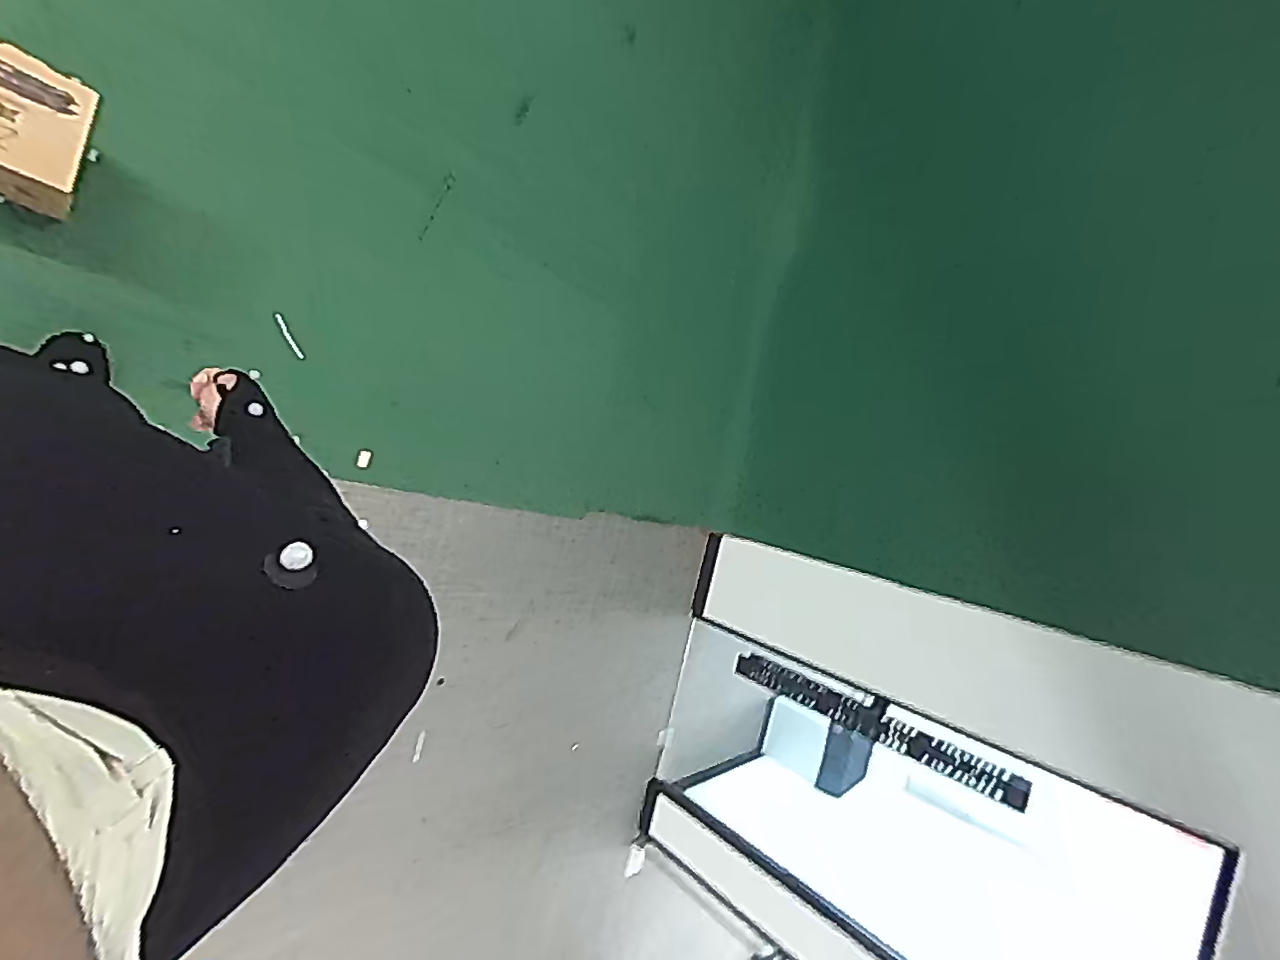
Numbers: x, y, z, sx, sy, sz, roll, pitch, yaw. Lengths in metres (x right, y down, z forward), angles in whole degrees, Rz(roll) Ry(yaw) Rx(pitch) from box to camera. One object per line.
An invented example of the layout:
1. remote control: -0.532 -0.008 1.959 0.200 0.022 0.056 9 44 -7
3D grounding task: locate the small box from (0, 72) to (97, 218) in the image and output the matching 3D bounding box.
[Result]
1. small box: -1.131 -0.609 0.983 0.168 0.176 0.179 18 88 -47
